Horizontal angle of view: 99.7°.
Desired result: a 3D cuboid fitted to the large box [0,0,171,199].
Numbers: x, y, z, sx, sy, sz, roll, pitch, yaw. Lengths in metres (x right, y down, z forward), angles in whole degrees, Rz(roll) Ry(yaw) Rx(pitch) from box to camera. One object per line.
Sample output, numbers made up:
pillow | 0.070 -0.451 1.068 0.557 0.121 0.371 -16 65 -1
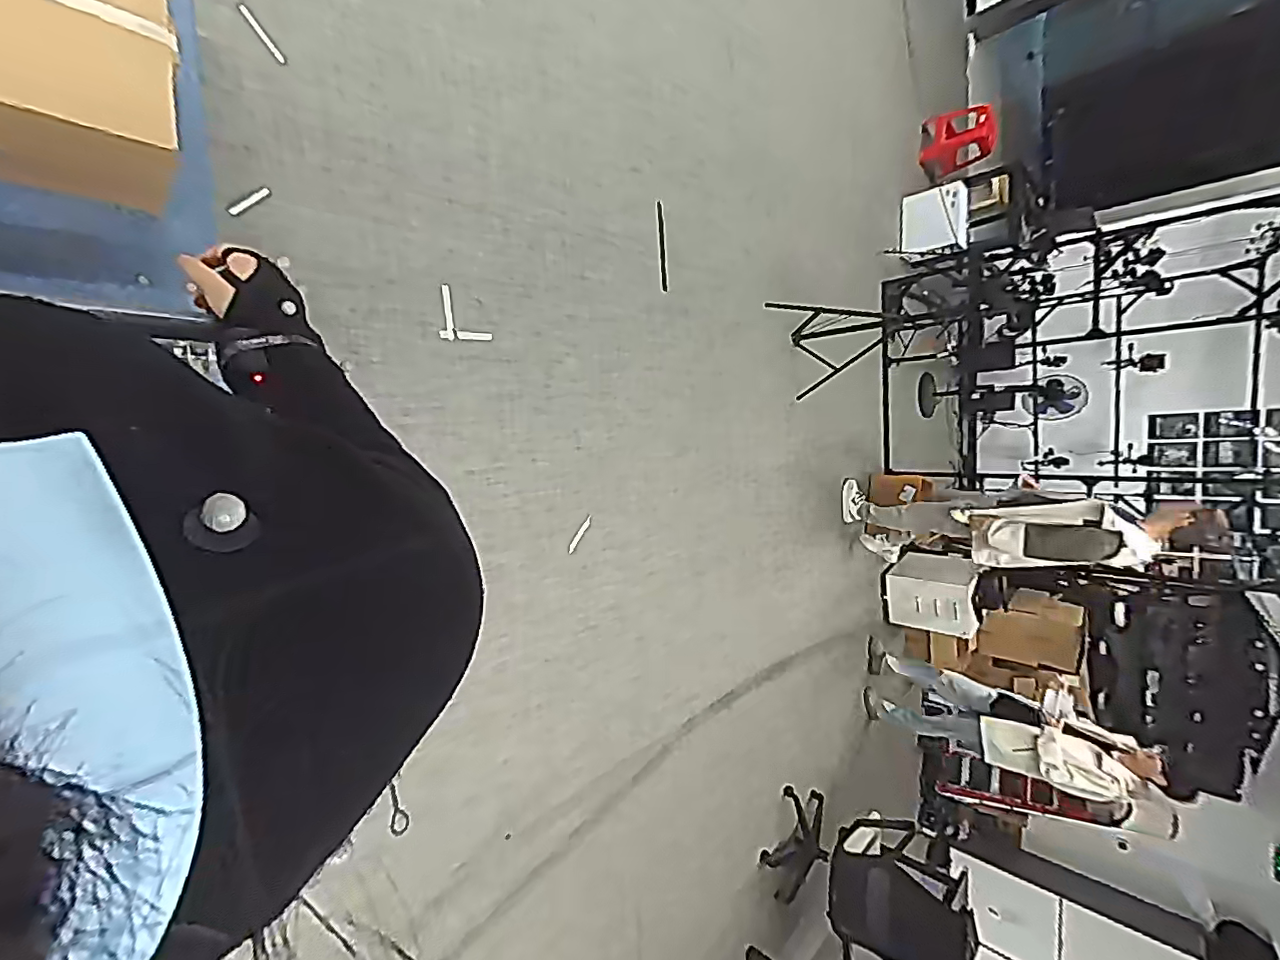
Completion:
large box | -0.951 -0.649 0.761 0.408 0.320 0.320 -6 95 -45
